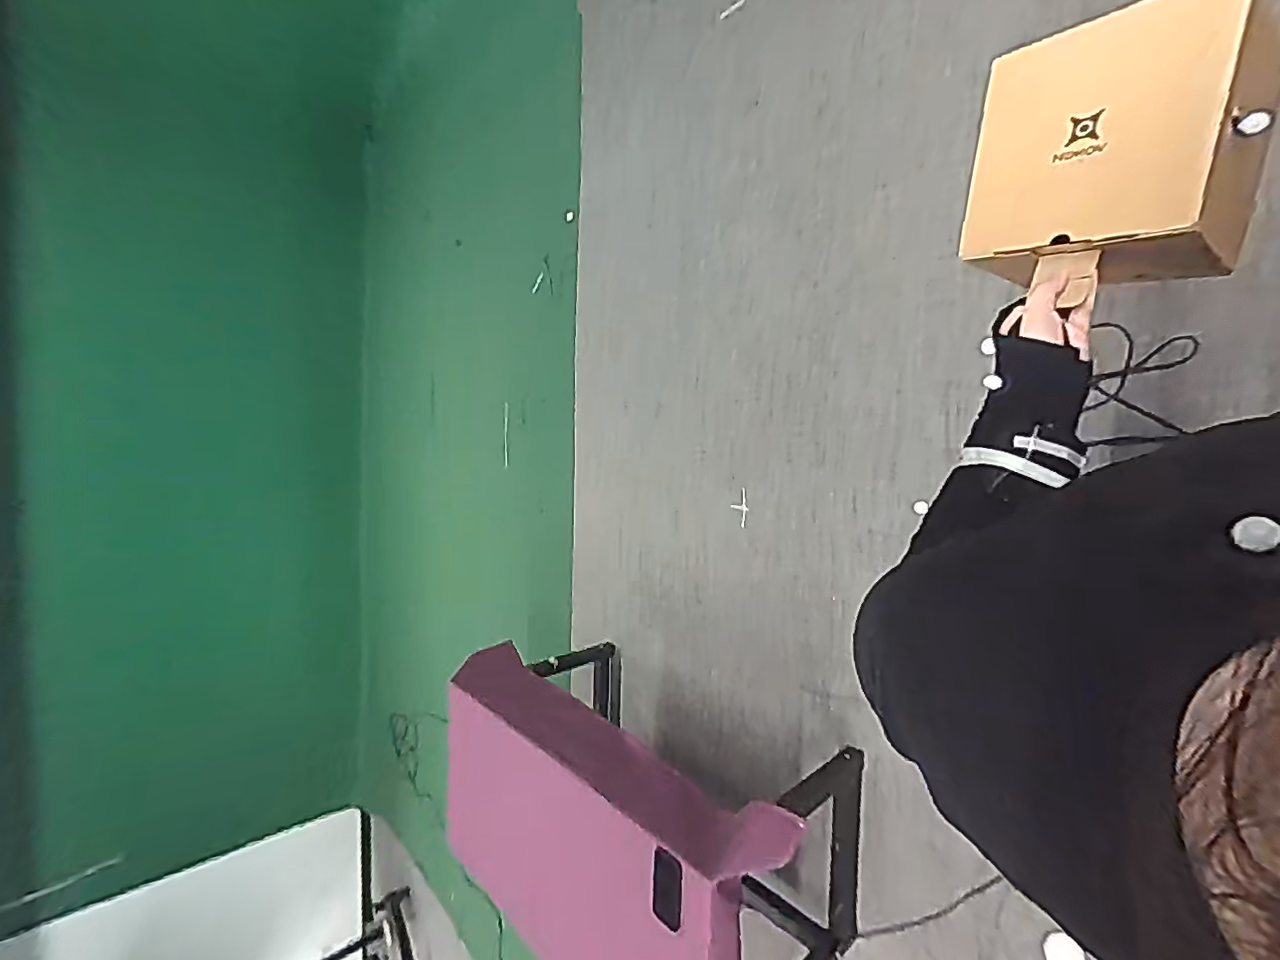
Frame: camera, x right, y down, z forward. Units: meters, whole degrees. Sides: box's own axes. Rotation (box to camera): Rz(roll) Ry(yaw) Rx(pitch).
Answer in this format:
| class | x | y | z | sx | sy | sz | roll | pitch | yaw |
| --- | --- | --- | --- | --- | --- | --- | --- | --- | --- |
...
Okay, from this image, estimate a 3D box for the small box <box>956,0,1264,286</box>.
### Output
| class | x | y | z | sx | sy | sz | roll | pitch | yaw |
| --- | --- | --- | --- | --- | --- | --- | --- | --- | --- |
| small box | 0.429 | -0.289 | 0.499 | 0.168 | 0.176 | 0.179 | 18 | 108 | 52 |
